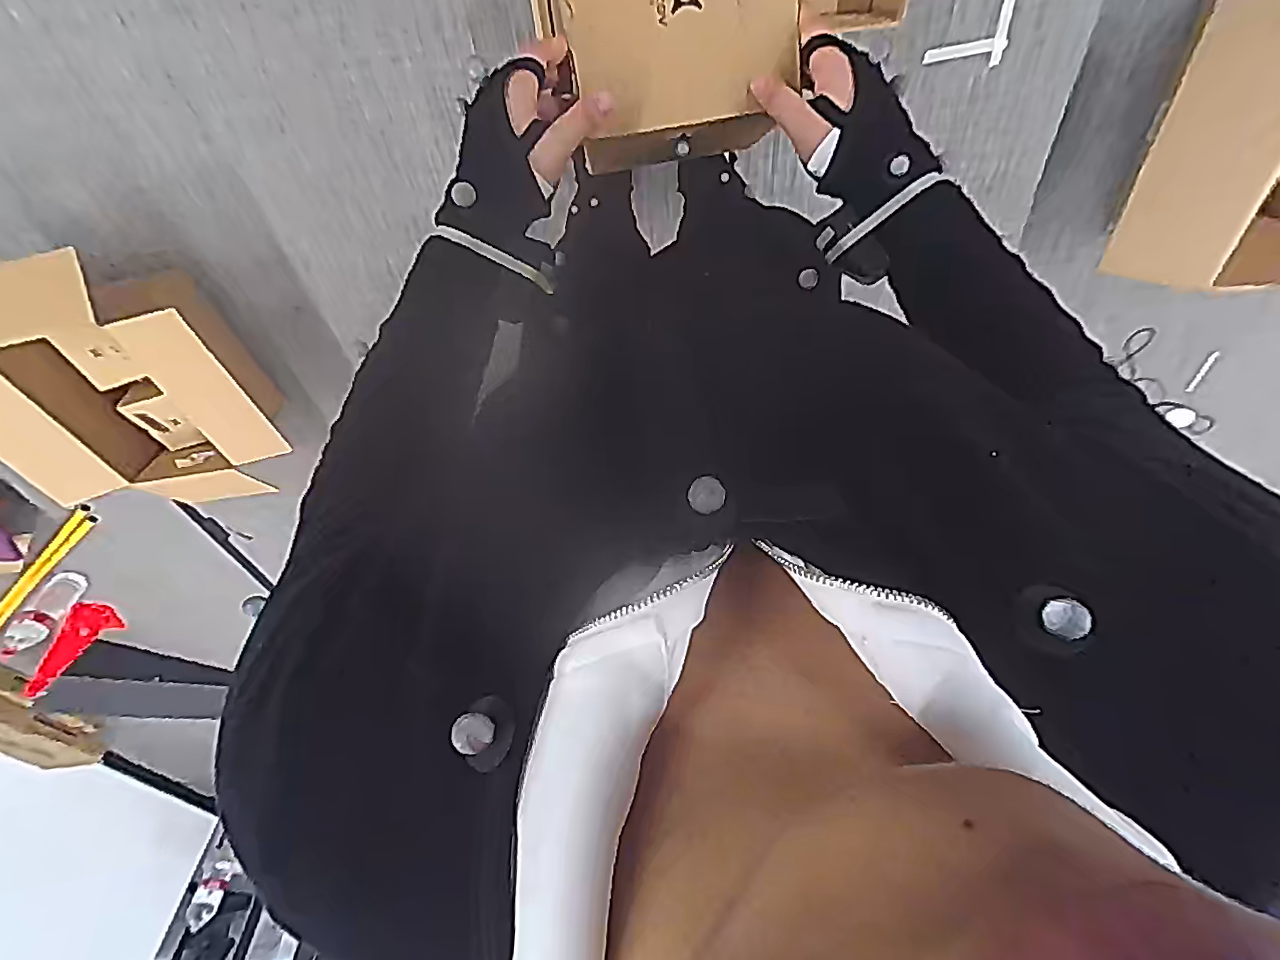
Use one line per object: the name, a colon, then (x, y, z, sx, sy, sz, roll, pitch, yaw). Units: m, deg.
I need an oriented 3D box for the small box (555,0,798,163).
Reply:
small box: (0.020, -0.389, 0.465, 0.179, 0.176, 0.168, -11, 112, 0)
